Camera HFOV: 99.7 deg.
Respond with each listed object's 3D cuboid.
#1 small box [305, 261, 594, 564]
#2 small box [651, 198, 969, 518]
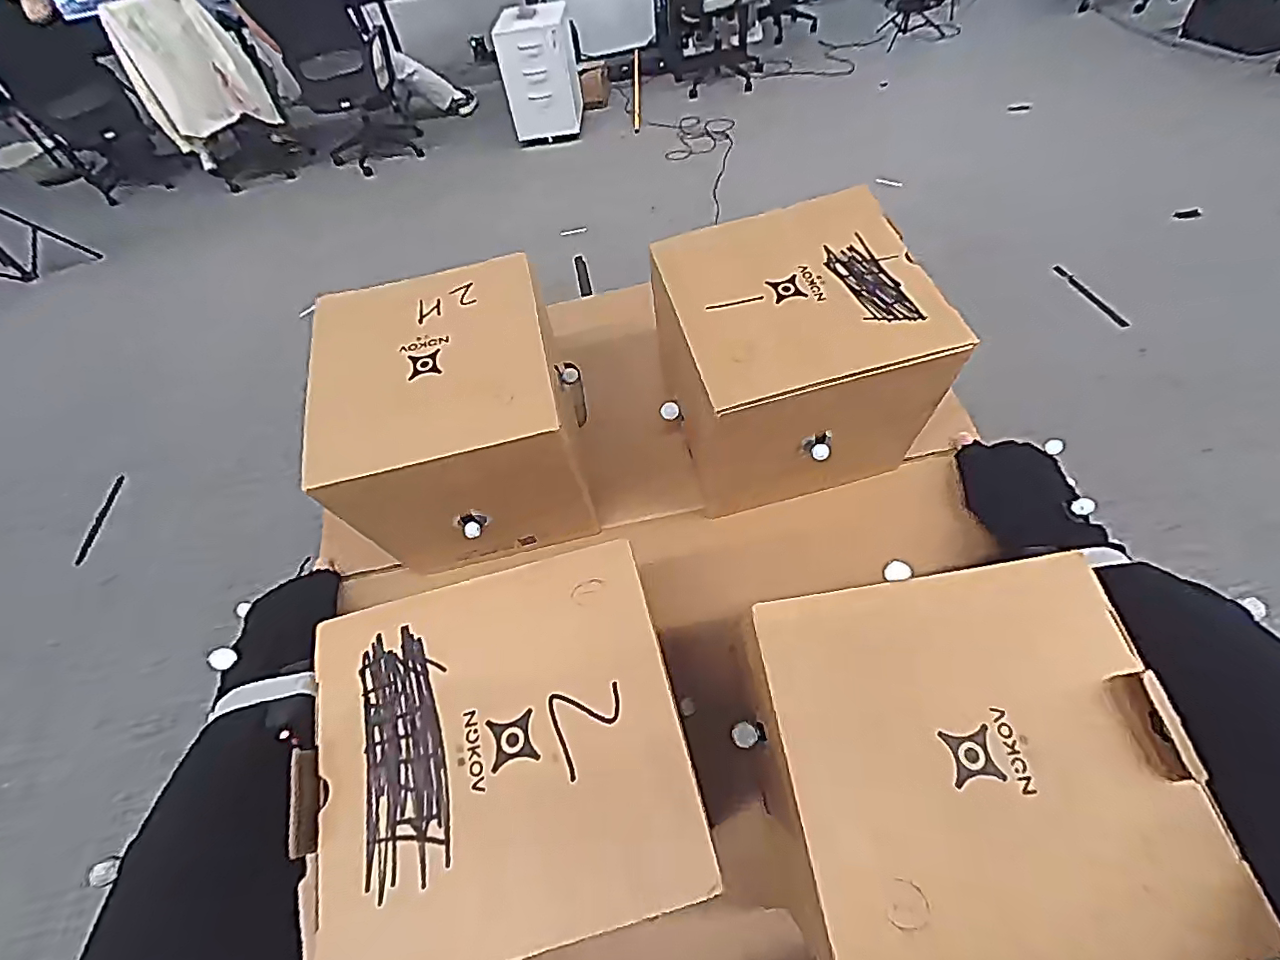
[{"bbox_3d":[-0.140,-0.042,0.449,0.168,0.176,0.179,-13,61,-1],"label":"small box"},{"bbox_3d":[0.116,-0.089,0.445,0.179,0.176,0.168,-15,62,-1],"label":"small box"}]
